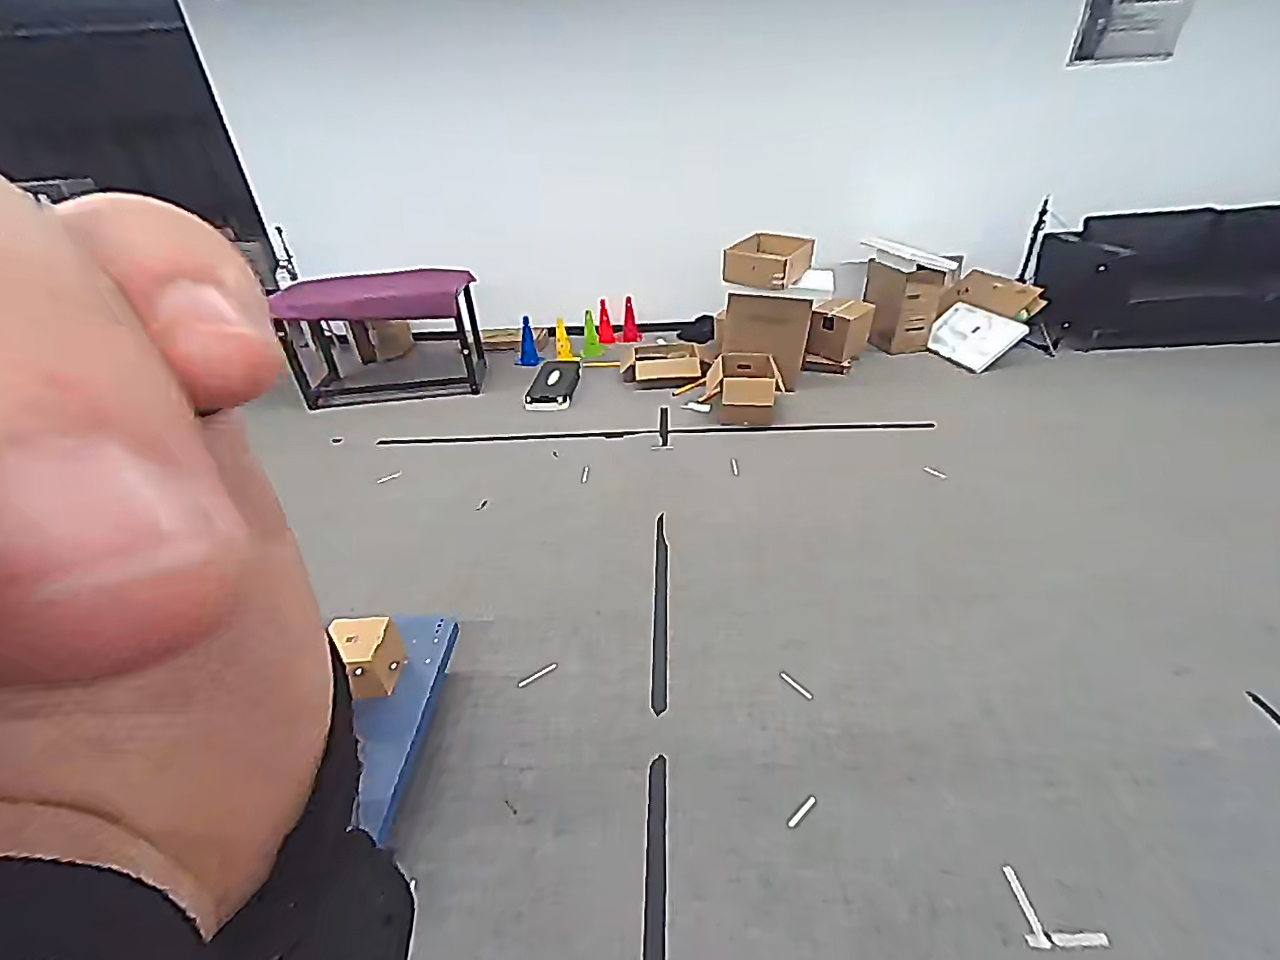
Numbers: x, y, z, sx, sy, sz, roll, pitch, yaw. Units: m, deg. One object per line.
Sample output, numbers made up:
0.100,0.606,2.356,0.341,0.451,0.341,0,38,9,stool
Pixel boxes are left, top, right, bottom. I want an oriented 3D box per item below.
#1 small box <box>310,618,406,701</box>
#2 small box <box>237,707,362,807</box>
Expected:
-0.824,0.533,1.599,0.179,0.176,0.168,-3,33,-1,small box
-0.838,0.691,1.350,0.179,0.176,0.168,0,34,4,small box
